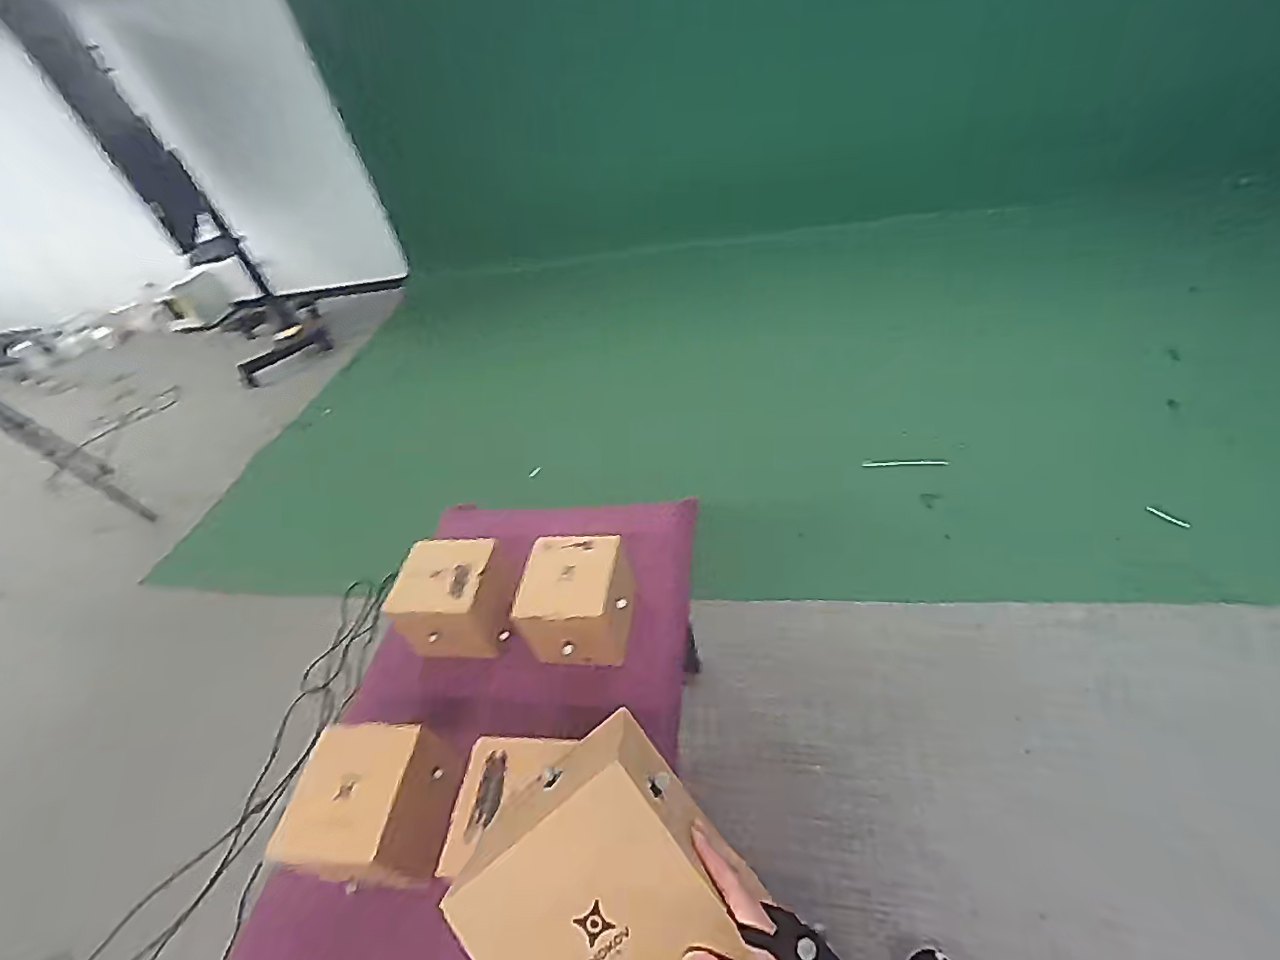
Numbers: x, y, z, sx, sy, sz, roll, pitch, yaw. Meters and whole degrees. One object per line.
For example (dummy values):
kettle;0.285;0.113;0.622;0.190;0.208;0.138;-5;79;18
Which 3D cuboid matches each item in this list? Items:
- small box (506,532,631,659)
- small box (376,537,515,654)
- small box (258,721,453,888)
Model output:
small box;-0.121;0.217;1.004;0.168;0.176;0.179;-2;46;14
small box;-0.366;0.228;1.059;0.179;0.176;0.168;-3;45;13
small box;-0.404;0.484;0.810;0.168;0.176;0.179;-4;45;11
